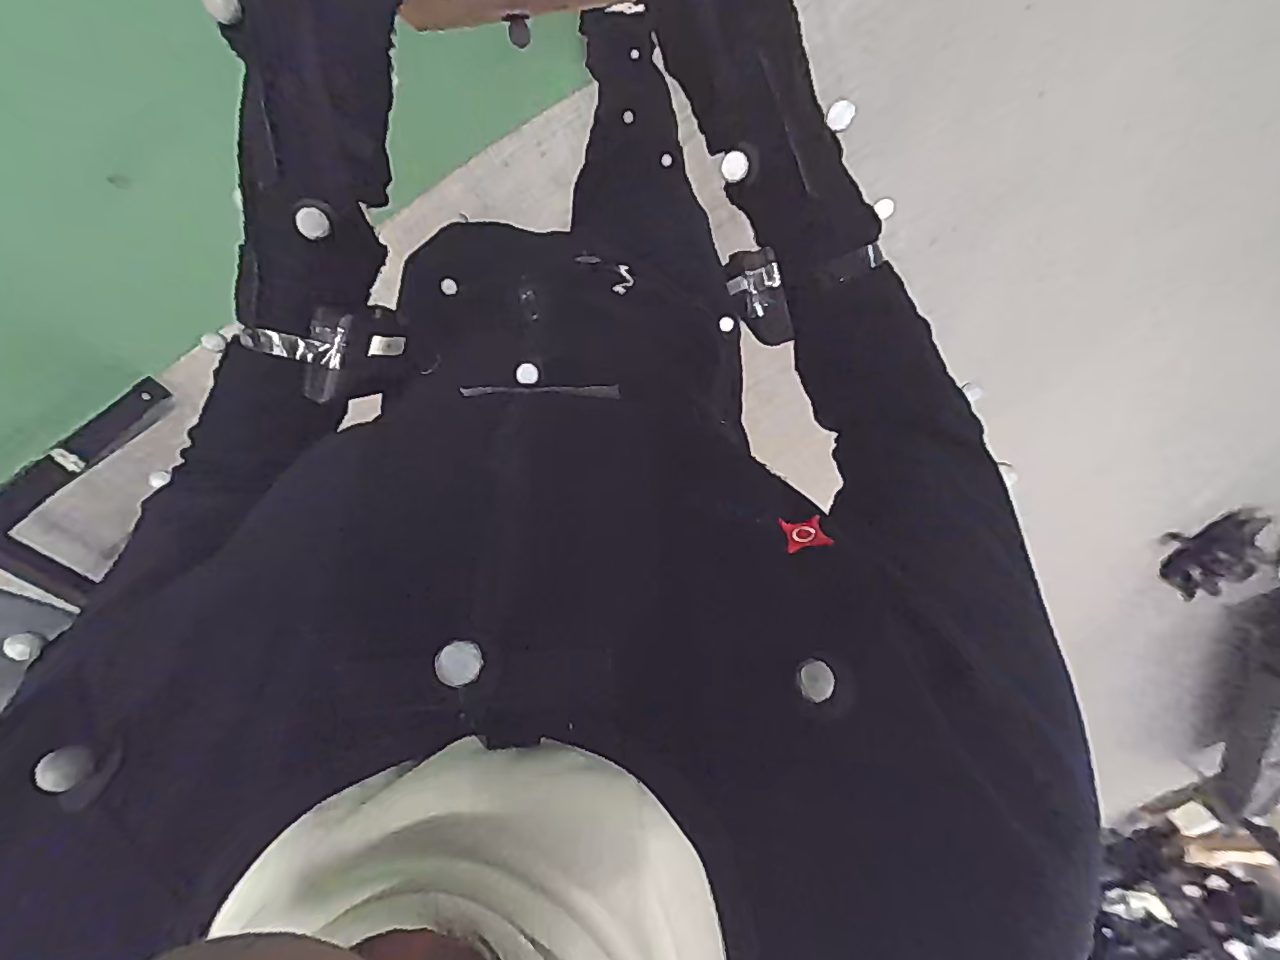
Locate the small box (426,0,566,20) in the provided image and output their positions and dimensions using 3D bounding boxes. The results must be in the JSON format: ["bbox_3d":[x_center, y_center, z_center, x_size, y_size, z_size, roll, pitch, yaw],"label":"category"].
[{"bbox_3d":[-0.077,-0.383,0.291,0.168,0.176,0.179,-13,126,-3],"label":"small box"}]
